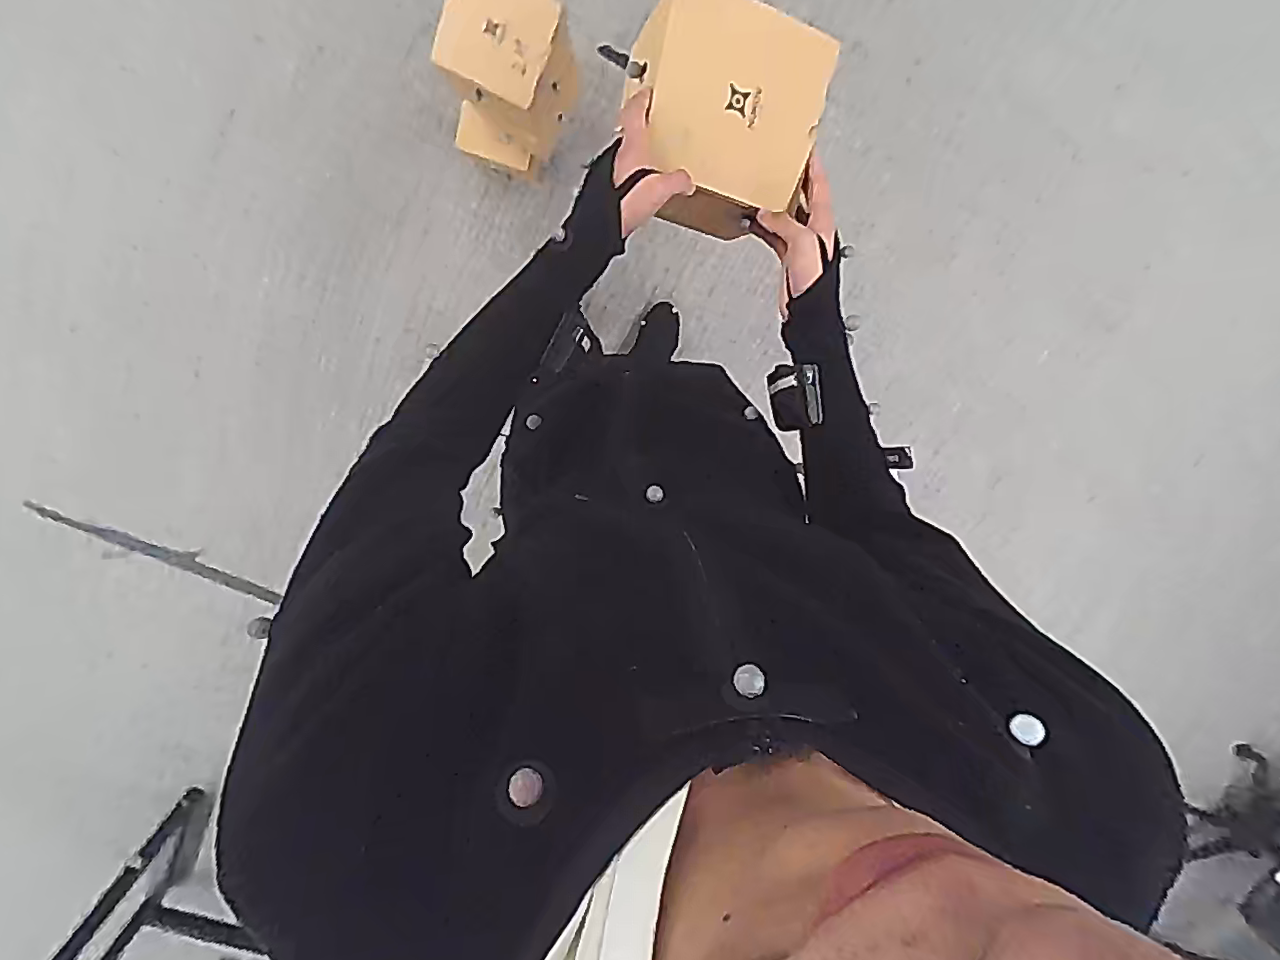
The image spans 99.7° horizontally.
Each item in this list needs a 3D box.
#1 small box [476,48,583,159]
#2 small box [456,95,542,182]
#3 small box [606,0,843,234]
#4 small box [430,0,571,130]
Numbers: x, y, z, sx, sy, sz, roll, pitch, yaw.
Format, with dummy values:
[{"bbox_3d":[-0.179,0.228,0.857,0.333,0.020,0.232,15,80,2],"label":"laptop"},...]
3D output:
[{"bbox_3d":[-0.227,-0.797,1.099,0.168,0.176,0.179,30,106,-12],"label":"small box"},{"bbox_3d":[-0.310,-0.825,1.258,0.168,0.176,0.179,16,109,-8],"label":"small box"},{"bbox_3d":[0.073,-0.376,0.574,0.179,0.176,0.168,8,104,-20],"label":"small box"},{"bbox_3d":[-0.233,-0.749,0.942,0.179,0.176,0.168,23,107,-10],"label":"small box"}]
